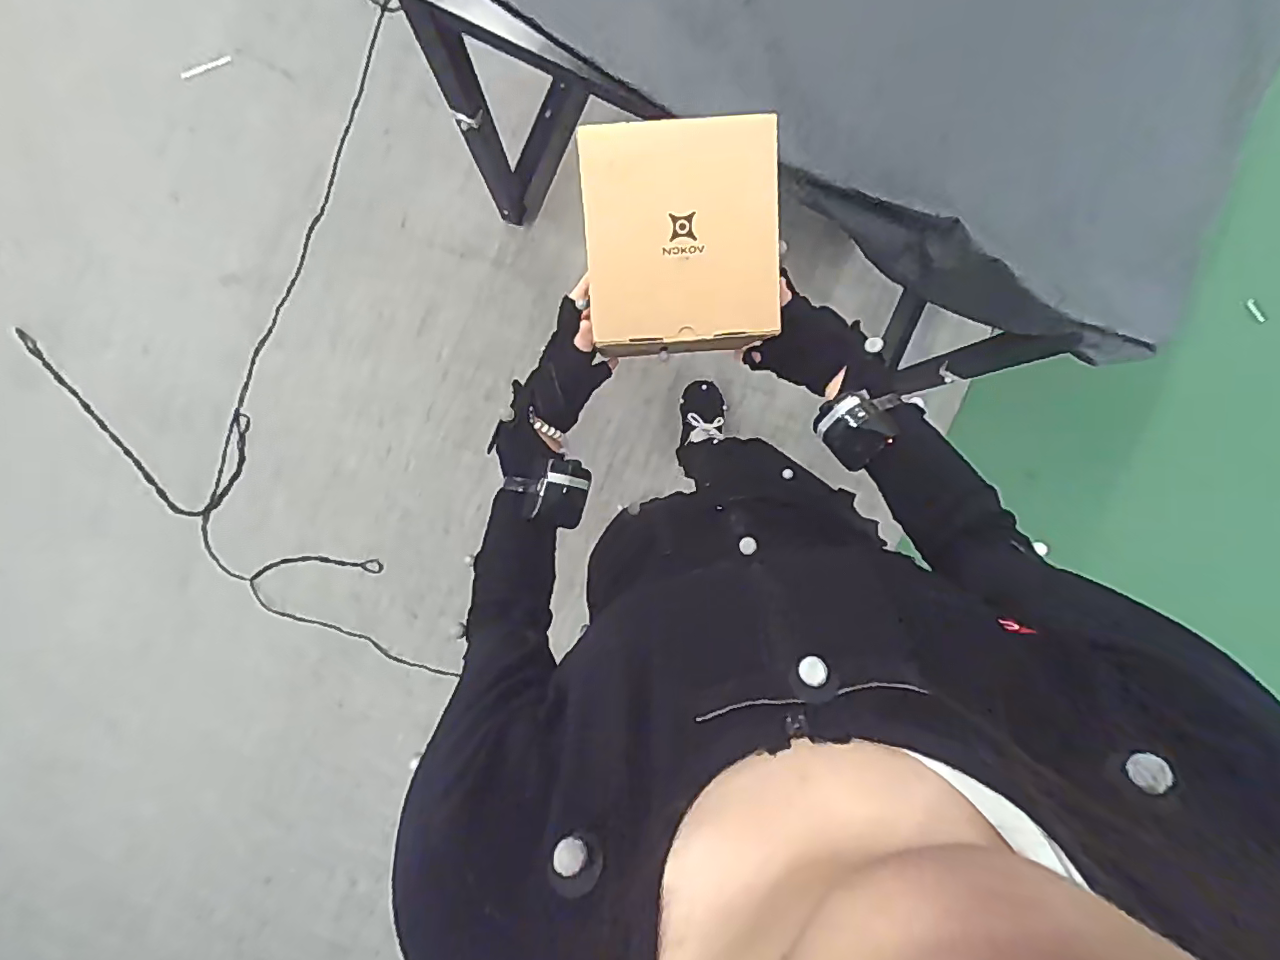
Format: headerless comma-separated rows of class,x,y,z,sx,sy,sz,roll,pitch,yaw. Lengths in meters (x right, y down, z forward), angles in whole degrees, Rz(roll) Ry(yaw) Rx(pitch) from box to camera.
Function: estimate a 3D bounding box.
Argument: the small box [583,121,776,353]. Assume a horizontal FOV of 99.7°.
small box,0.031,-0.225,0.543,0.168,0.176,0.179,-4,101,-2
